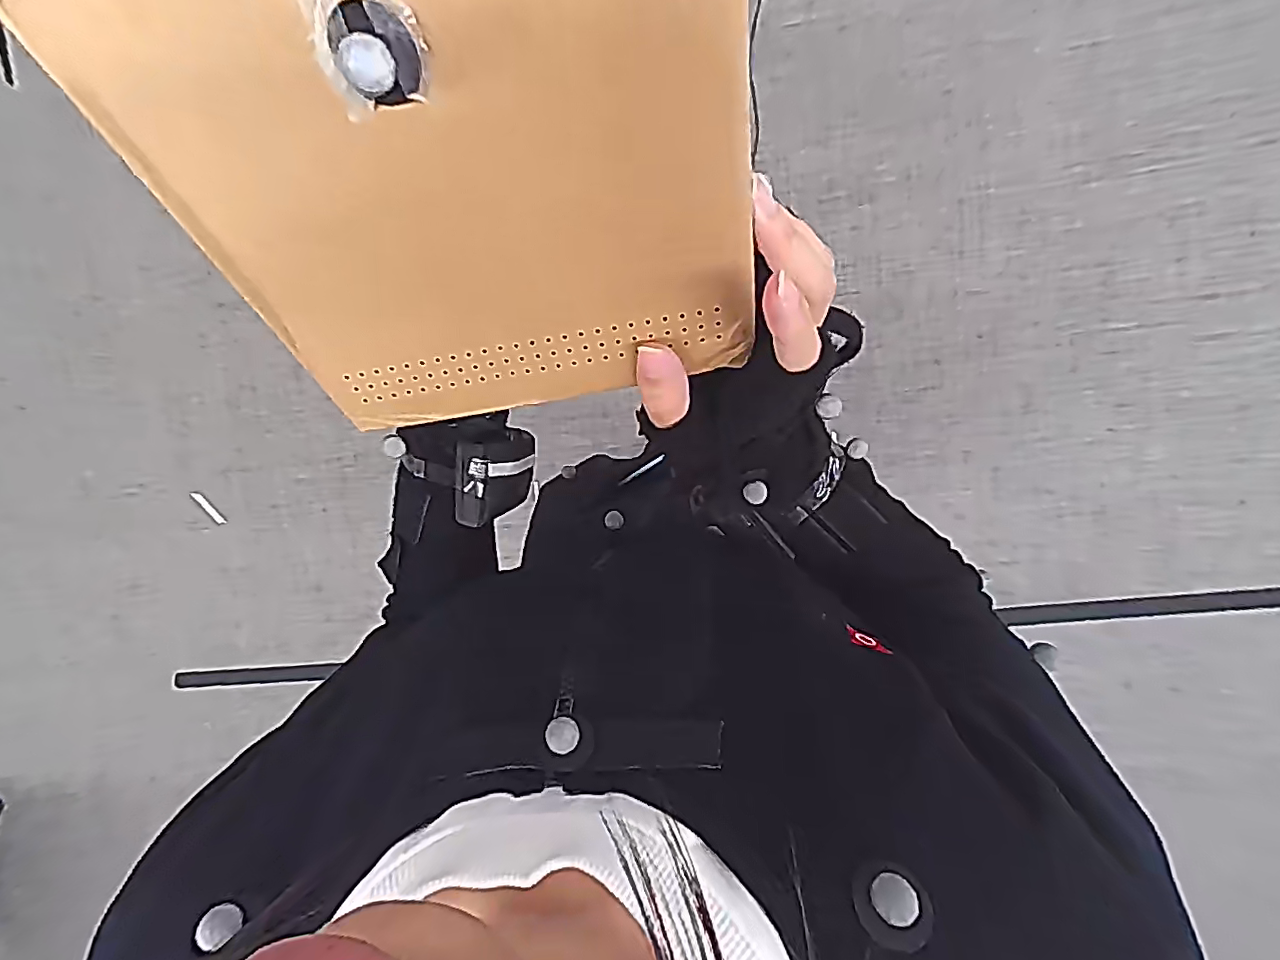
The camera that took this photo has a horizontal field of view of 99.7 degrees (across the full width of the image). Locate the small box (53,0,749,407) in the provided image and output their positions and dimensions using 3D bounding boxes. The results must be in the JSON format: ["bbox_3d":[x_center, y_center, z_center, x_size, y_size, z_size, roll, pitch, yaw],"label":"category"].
[{"bbox_3d":[-0.054,-0.150,0.233,0.179,0.176,0.168,-8,53,7],"label":"small box"}]
